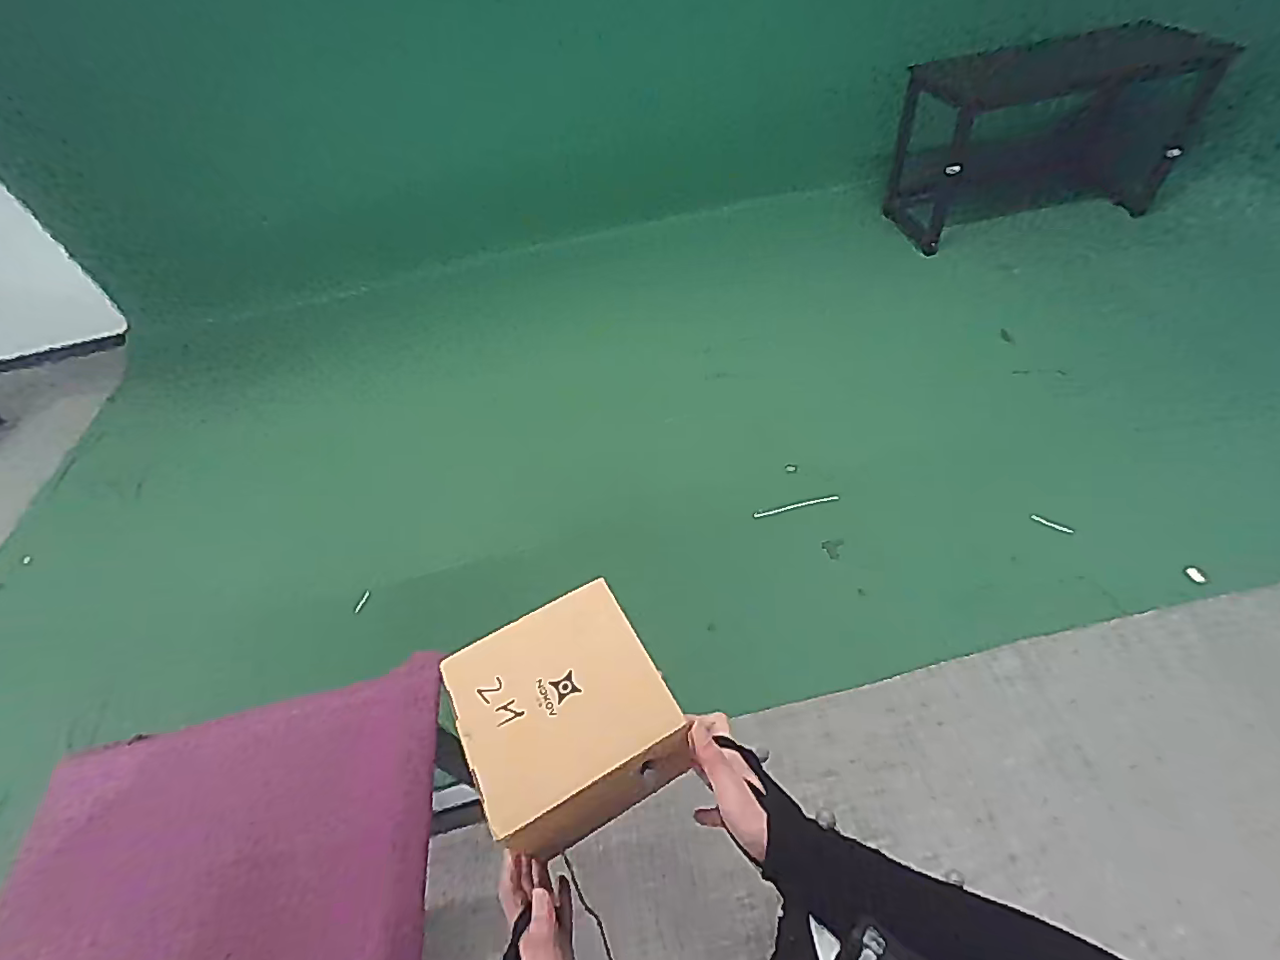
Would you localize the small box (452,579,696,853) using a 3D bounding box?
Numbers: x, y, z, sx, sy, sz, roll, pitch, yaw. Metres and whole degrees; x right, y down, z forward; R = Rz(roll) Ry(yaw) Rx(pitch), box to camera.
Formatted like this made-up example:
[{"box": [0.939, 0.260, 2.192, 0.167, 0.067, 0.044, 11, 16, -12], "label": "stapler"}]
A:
[{"box": [-0.059, 0.236, 0.542, 0.179, 0.176, 0.168, -25, 51, -14], "label": "small box"}]
